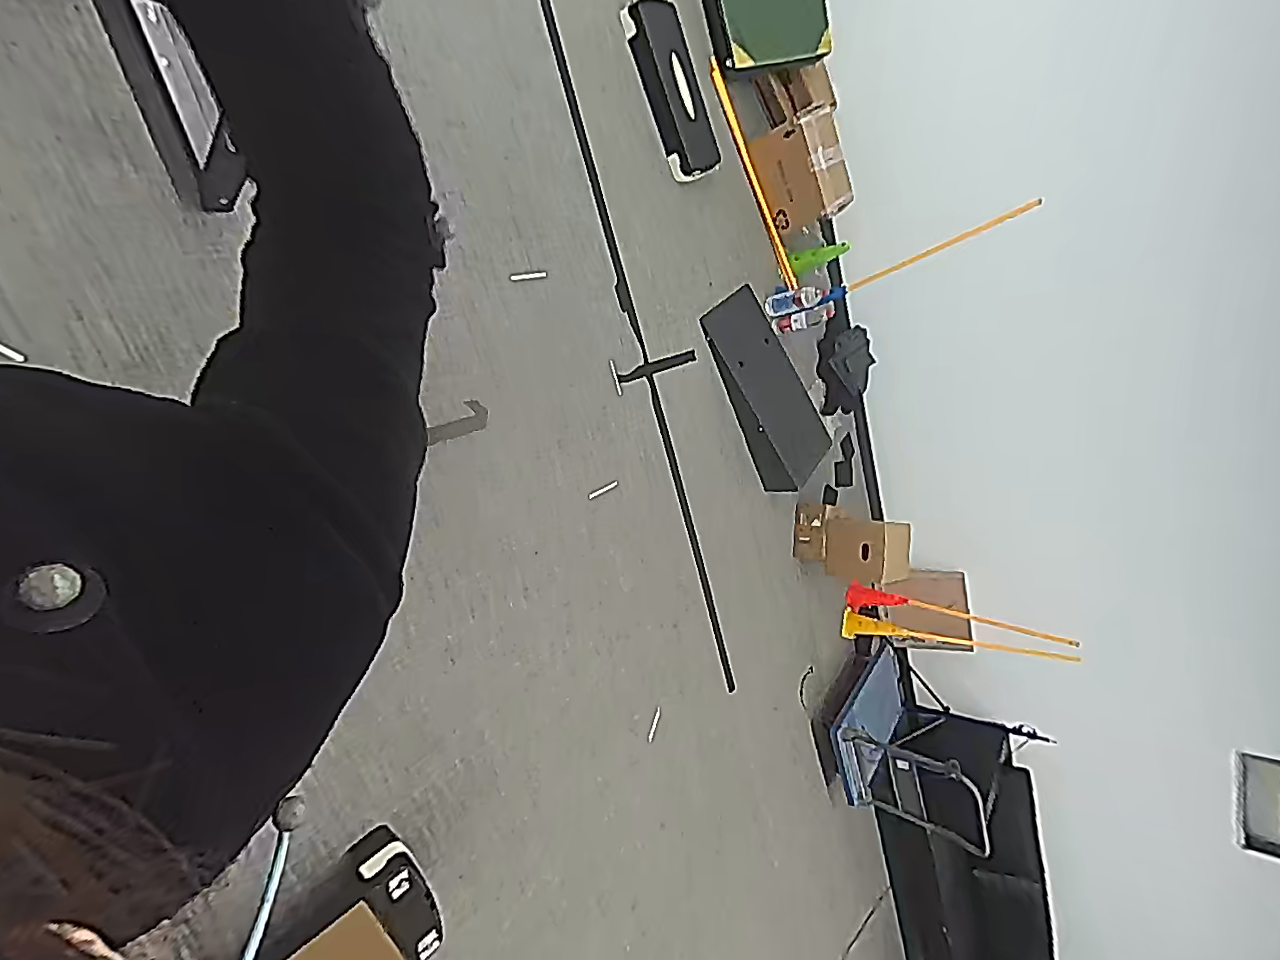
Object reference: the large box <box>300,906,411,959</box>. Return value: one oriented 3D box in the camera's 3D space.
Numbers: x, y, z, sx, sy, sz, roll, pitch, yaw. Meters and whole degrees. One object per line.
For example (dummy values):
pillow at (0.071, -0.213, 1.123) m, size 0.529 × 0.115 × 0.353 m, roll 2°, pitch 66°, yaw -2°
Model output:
large box at (-0.615, 1.166, 1.030) m, size 0.408 × 0.320 × 0.320 m, roll -23°, pitch 105°, yaw -44°

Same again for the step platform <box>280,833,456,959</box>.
step platform at (-0.768, 1.162, 1.215) m, size 0.684 × 0.204 × 0.286 m, roll -20°, pitch 102°, yaw -45°
